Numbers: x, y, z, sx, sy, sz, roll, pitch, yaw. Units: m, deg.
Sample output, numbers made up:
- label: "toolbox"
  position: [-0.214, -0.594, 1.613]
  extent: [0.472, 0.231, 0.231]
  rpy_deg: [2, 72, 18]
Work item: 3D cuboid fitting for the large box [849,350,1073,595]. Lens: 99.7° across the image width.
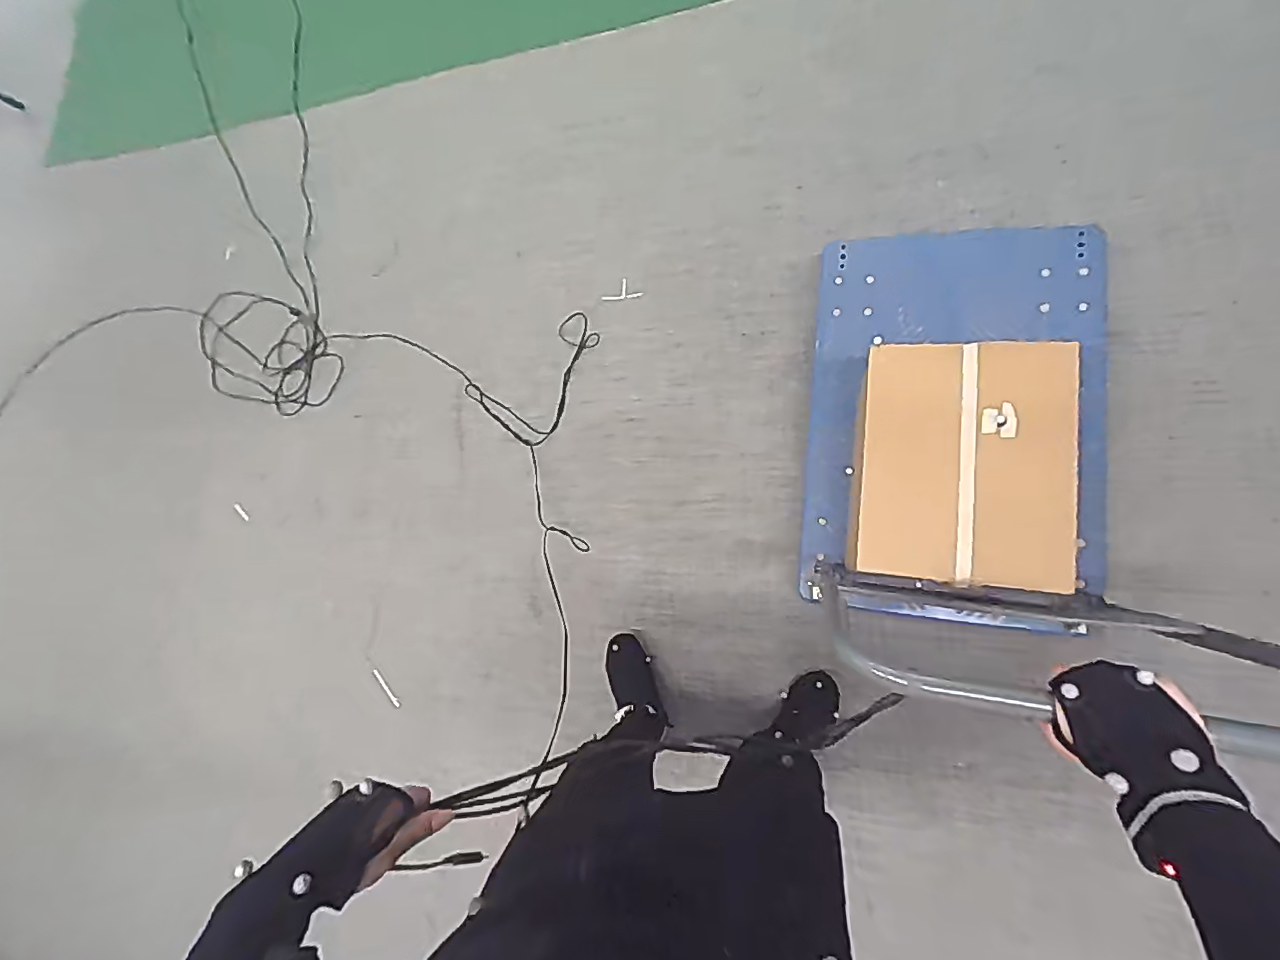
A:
- label: "large box"
  position: [0.578, 0.001, 1.036]
  extent: [0.320, 0.320, 0.408]
  rpy_deg: [4, 81, 18]
